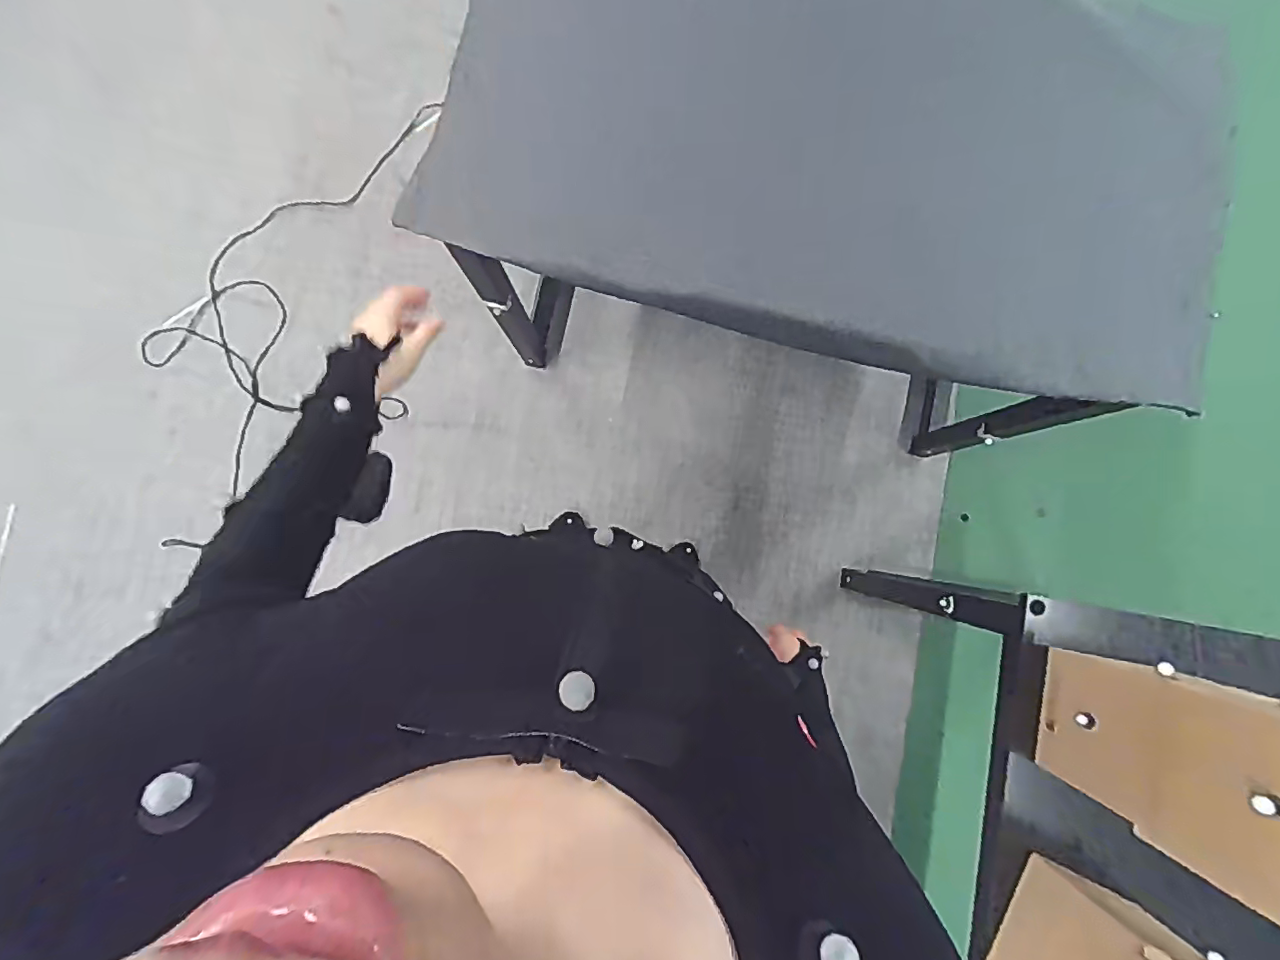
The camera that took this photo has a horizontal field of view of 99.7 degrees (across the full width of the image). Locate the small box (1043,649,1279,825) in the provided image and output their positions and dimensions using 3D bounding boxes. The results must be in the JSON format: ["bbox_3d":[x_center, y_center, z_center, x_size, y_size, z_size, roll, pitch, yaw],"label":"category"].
[{"bbox_3d":[0.653,0.322,0.676,0.179,0.176,0.168,11,86,1],"label":"small box"}]

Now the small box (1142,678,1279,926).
[{"bbox_3d":[0.636,0.312,0.514,0.168,0.176,0.179,11,85,1],"label":"small box"}]
